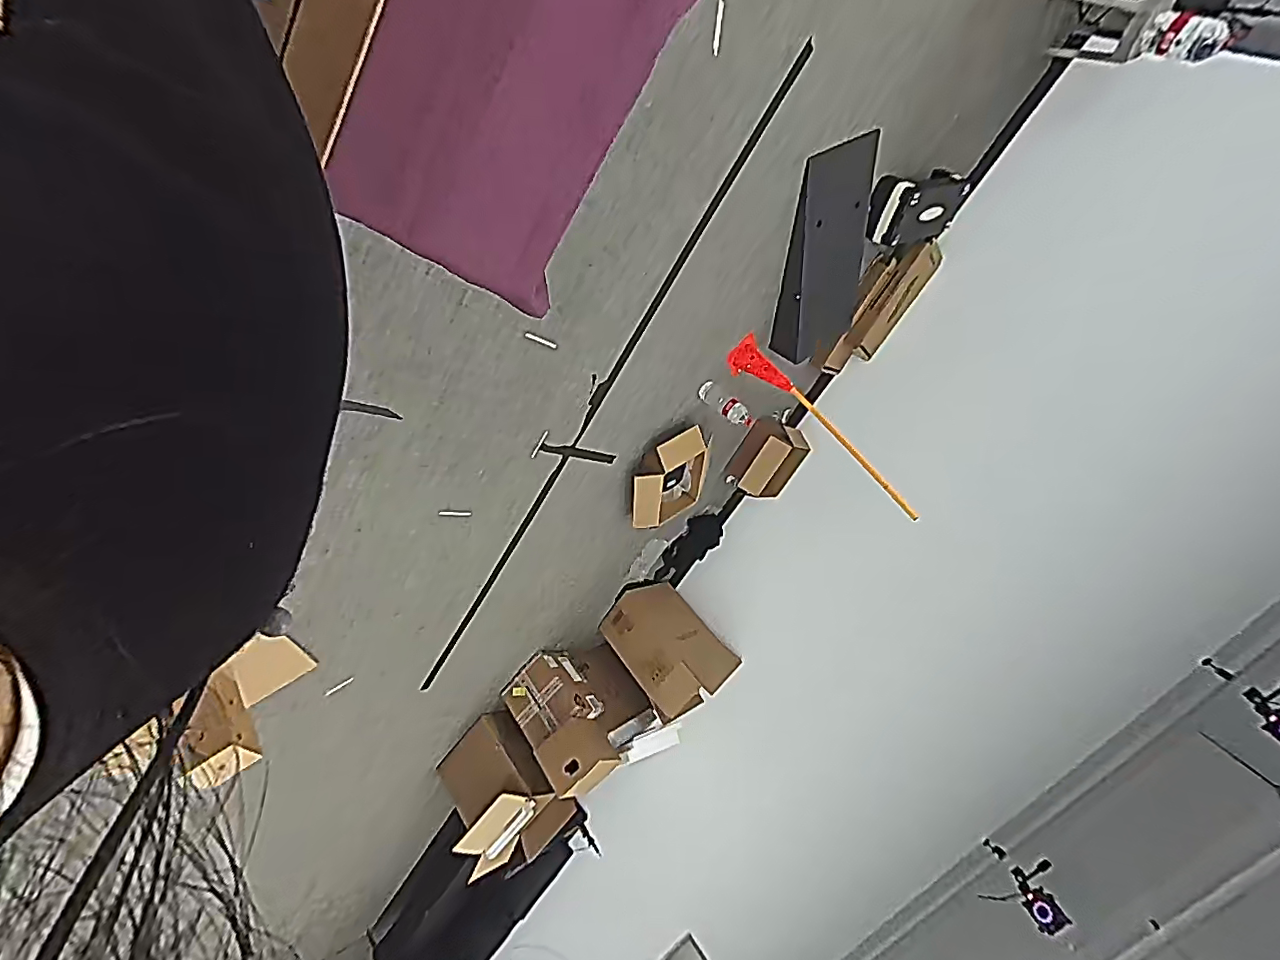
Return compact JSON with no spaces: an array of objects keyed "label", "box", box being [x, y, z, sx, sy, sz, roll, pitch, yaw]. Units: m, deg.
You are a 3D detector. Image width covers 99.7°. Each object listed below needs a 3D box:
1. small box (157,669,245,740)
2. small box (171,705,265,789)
[{"label":"small box","box":[-1.497,0.779,1.852,0.168,0.176,0.179,-33,147,-21]},{"label":"small box","box":[-1.385,0.871,1.772,0.168,0.176,0.179,-31,148,-22]}]
